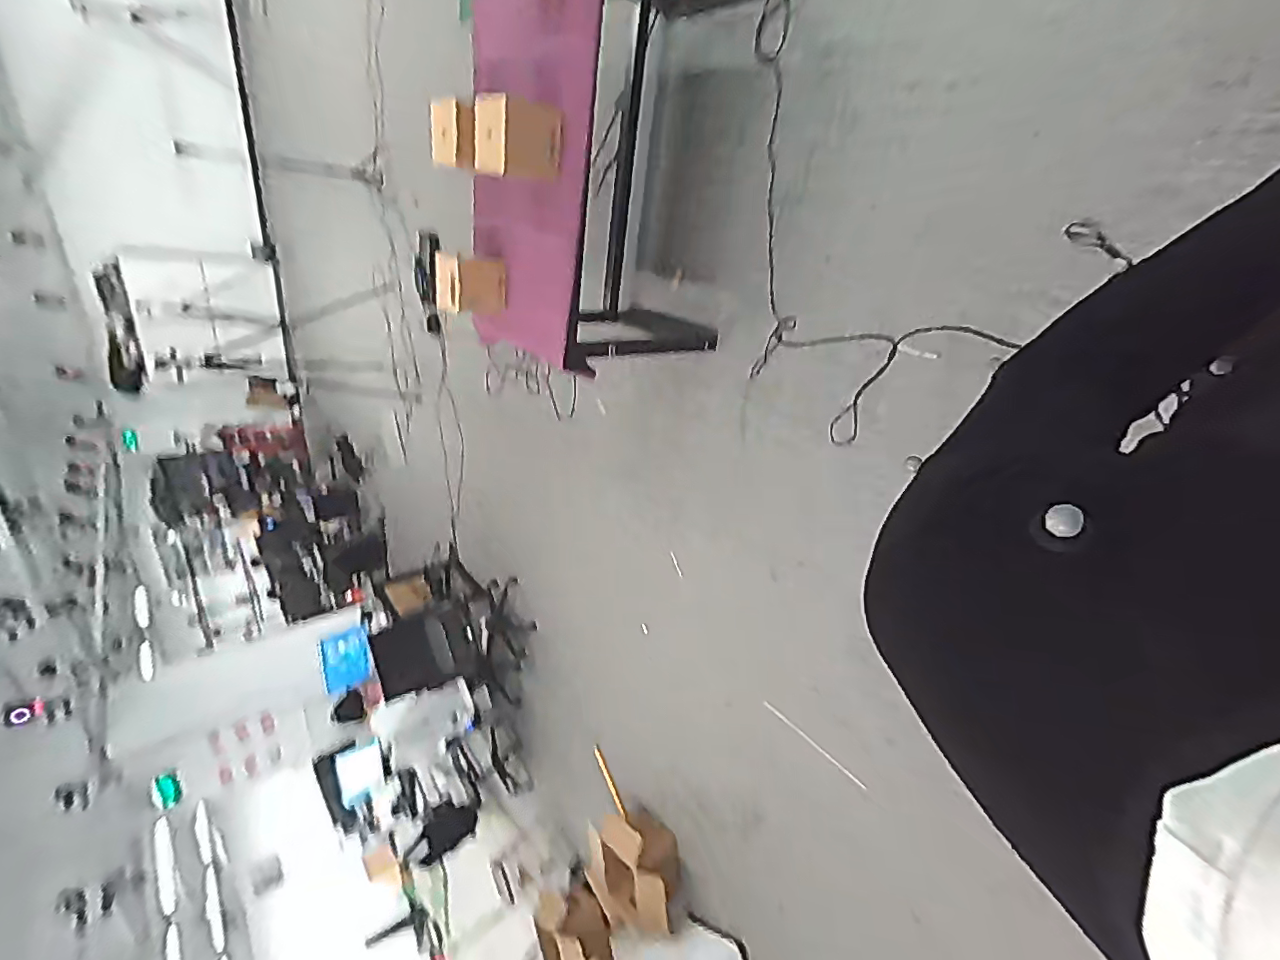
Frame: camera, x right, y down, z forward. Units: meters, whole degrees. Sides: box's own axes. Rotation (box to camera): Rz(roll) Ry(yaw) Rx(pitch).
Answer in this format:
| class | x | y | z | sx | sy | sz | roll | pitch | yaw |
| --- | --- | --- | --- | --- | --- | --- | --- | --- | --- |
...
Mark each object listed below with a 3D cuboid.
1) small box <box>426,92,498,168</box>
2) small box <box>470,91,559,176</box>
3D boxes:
| class | x | y | z | sx | sy | sz | roll | pitch | yaw |
| --- | --- | --- | --- | --- | --- | --- | --- | --- | --- |
| small box | -0.528 | -1.048 | 1.629 | 0.179 | 0.176 | 0.168 | 31 | 123 | 39 |
| small box | -0.337 | -0.919 | 1.440 | 0.179 | 0.176 | 0.168 | 35 | 127 | 39 |
